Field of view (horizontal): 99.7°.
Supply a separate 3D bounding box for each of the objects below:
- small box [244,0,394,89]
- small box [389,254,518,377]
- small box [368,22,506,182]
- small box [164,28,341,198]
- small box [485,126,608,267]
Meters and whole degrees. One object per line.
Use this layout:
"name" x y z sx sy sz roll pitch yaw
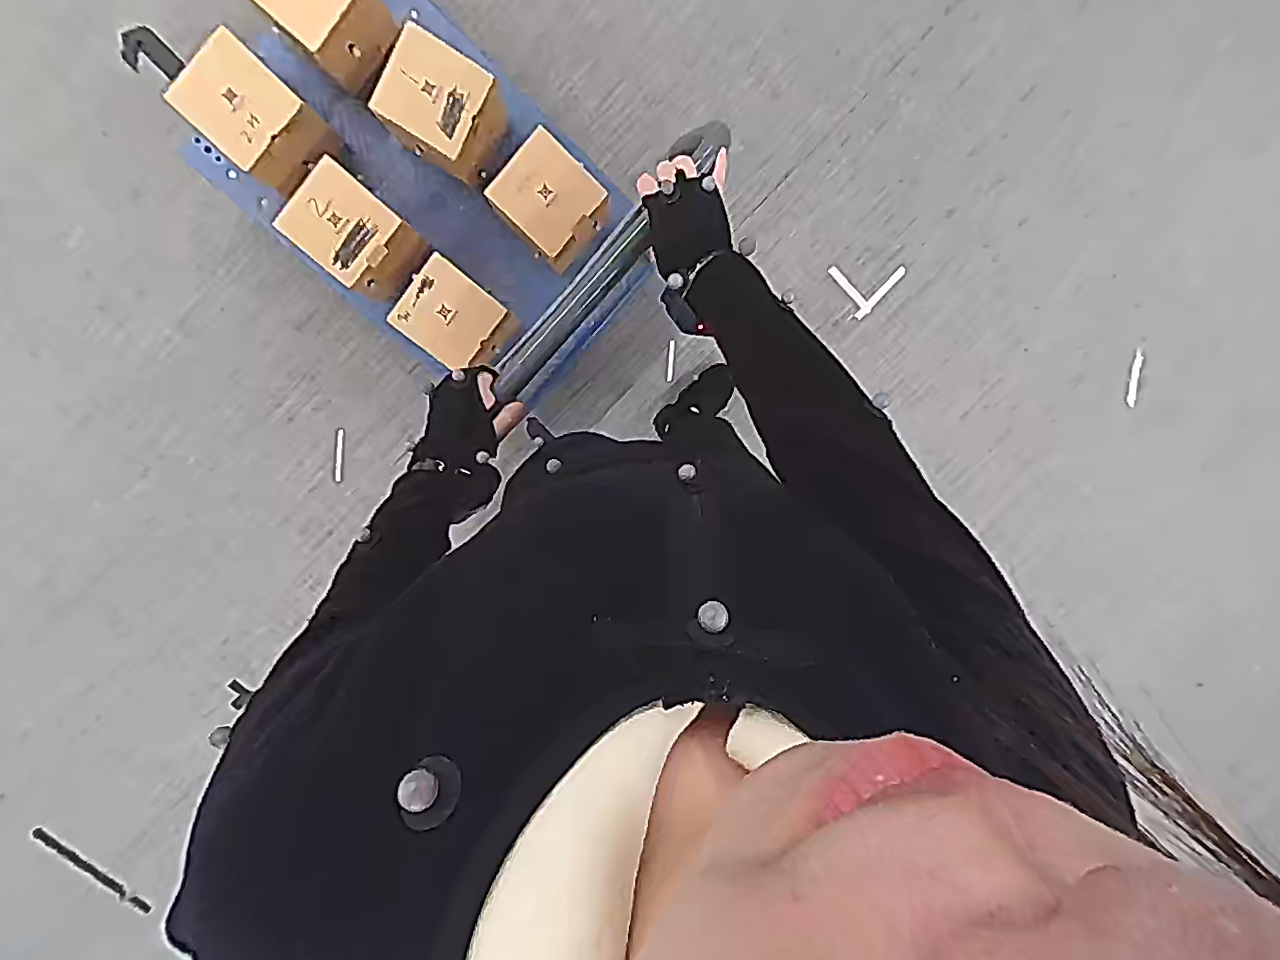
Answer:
"small box" -0.596 -0.878 1.005 0.179 0.176 0.168 38 96 -10
"small box" -0.375 -0.335 1.126 0.179 0.176 0.168 37 95 -11
"small box" -0.382 -0.715 1.054 0.179 0.176 0.168 29 97 -9
"small box" -0.722 -0.681 1.031 0.179 0.176 0.168 43 95 -12
"small box" -0.182 -0.560 1.101 0.179 0.176 0.168 41 95 -10
